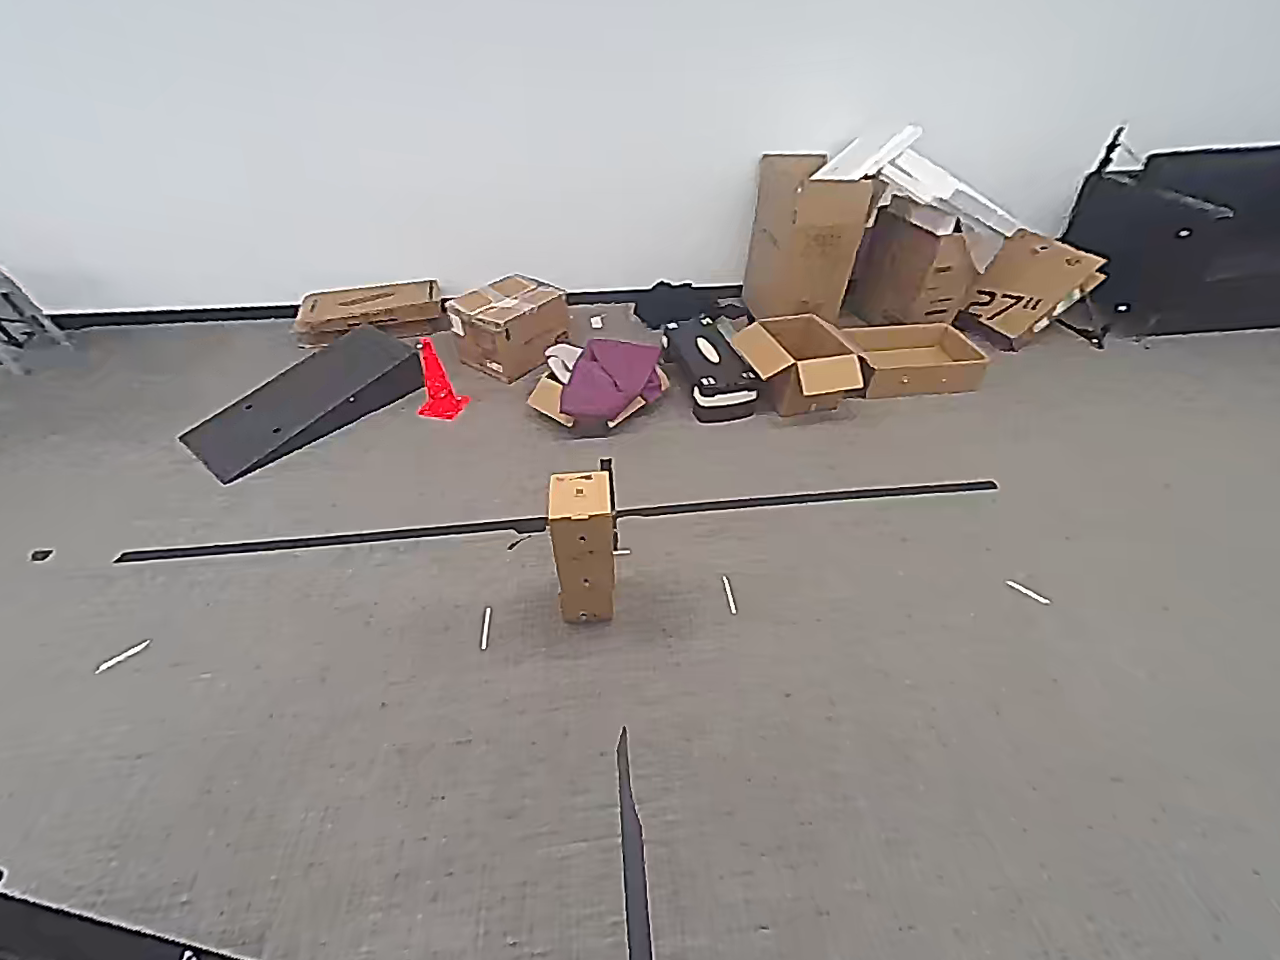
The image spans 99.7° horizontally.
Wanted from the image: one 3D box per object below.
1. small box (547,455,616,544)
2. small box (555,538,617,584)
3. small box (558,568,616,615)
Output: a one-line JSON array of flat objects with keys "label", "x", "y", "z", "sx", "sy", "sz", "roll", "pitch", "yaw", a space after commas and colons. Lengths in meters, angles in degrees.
[{"label": "small box", "x": -0.153, "y": 0.057, "z": 1.440, "sx": 0.168, "sy": 0.176, "sz": 0.179, "roll": -4, "pitch": 43, "yaw": -4}, {"label": "small box", "x": -0.153, "y": 0.177, "z": 1.552, "sx": 0.168, "sy": 0.176, "sz": 0.179, "roll": -5, "pitch": 43, "yaw": -4}, {"label": "small box", "x": -0.163, "y": 0.293, "z": 1.669, "sx": 0.168, "sy": 0.176, "sz": 0.179, "roll": -5, "pitch": 44, "yaw": -4}]
